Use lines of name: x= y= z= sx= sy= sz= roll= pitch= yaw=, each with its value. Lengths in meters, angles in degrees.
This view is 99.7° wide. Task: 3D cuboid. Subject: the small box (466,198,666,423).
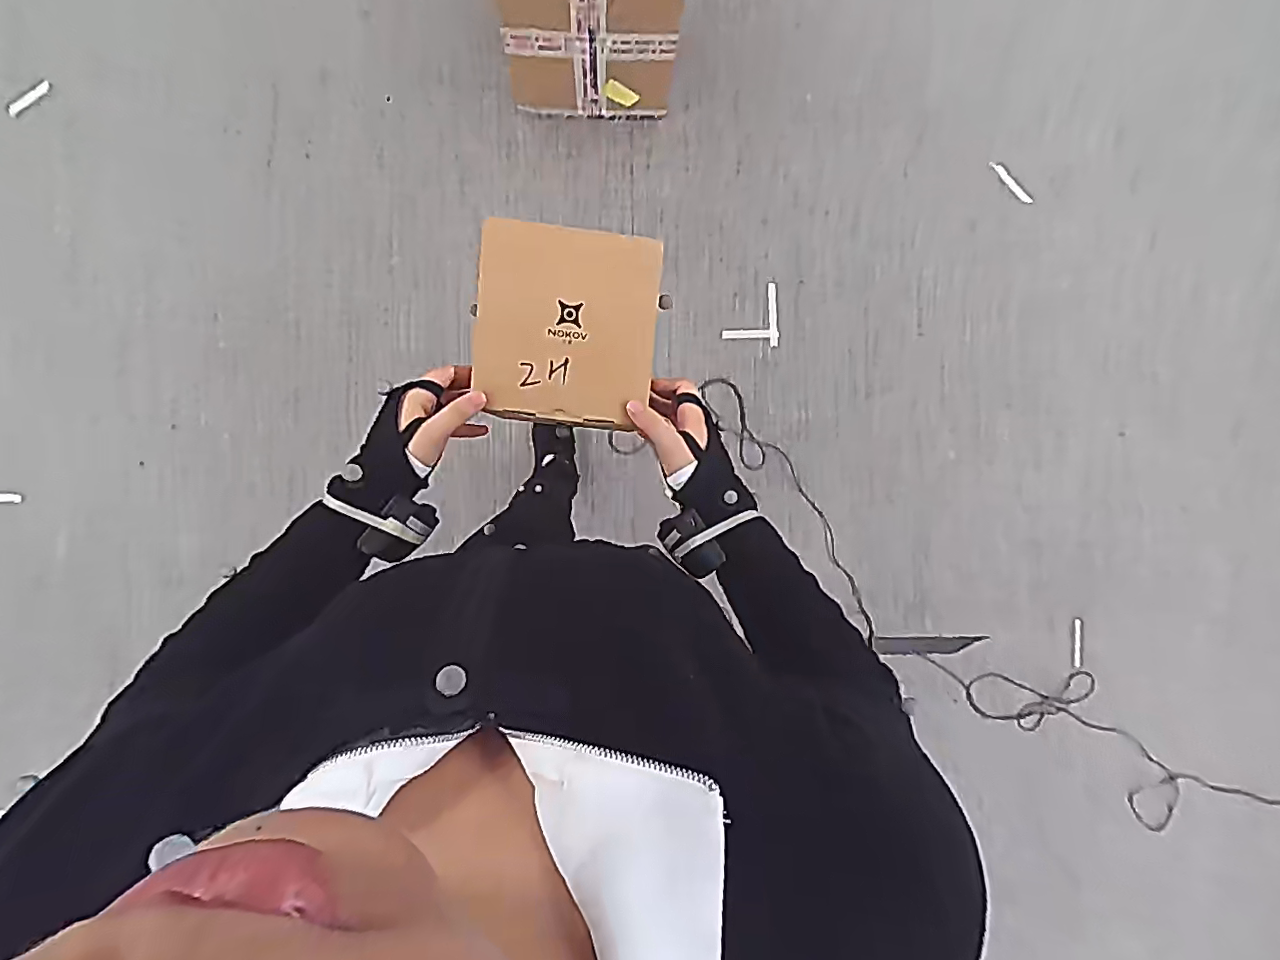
small box: x=-0.075 y=-0.160 z=0.570 sx=0.168 sy=0.176 sz=0.179 roll=6 pitch=93 yaw=-6
